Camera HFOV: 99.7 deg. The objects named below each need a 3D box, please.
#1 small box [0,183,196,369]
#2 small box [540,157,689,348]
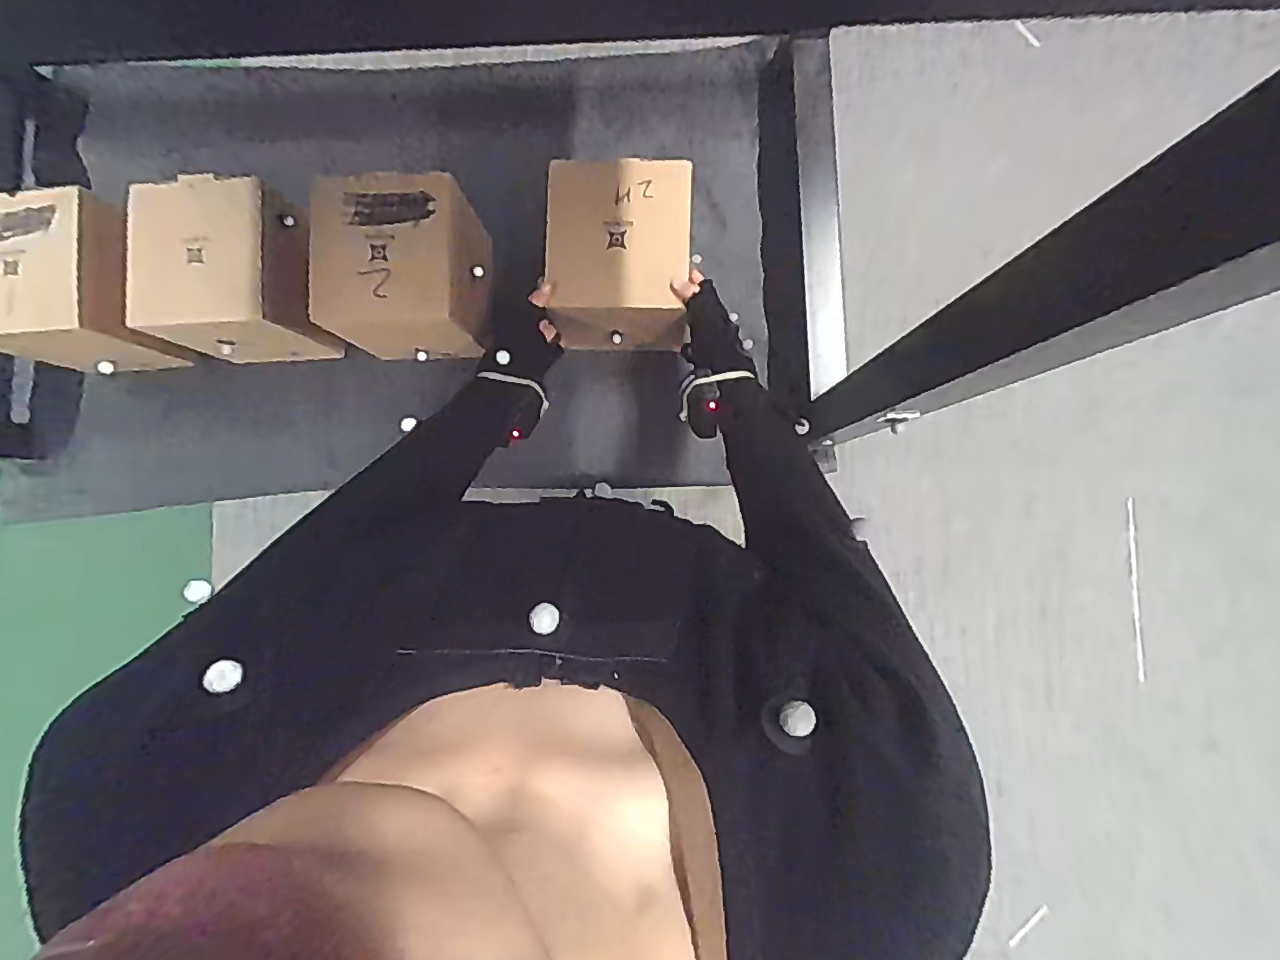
[{"bbox_3d":[-0.735,-0.257,0.717,0.168,0.176,0.179,-3,87,2],"label":"small box"},{"bbox_3d":[-0.026,-0.276,0.691,0.168,0.176,0.179,2,87,2],"label":"small box"}]
